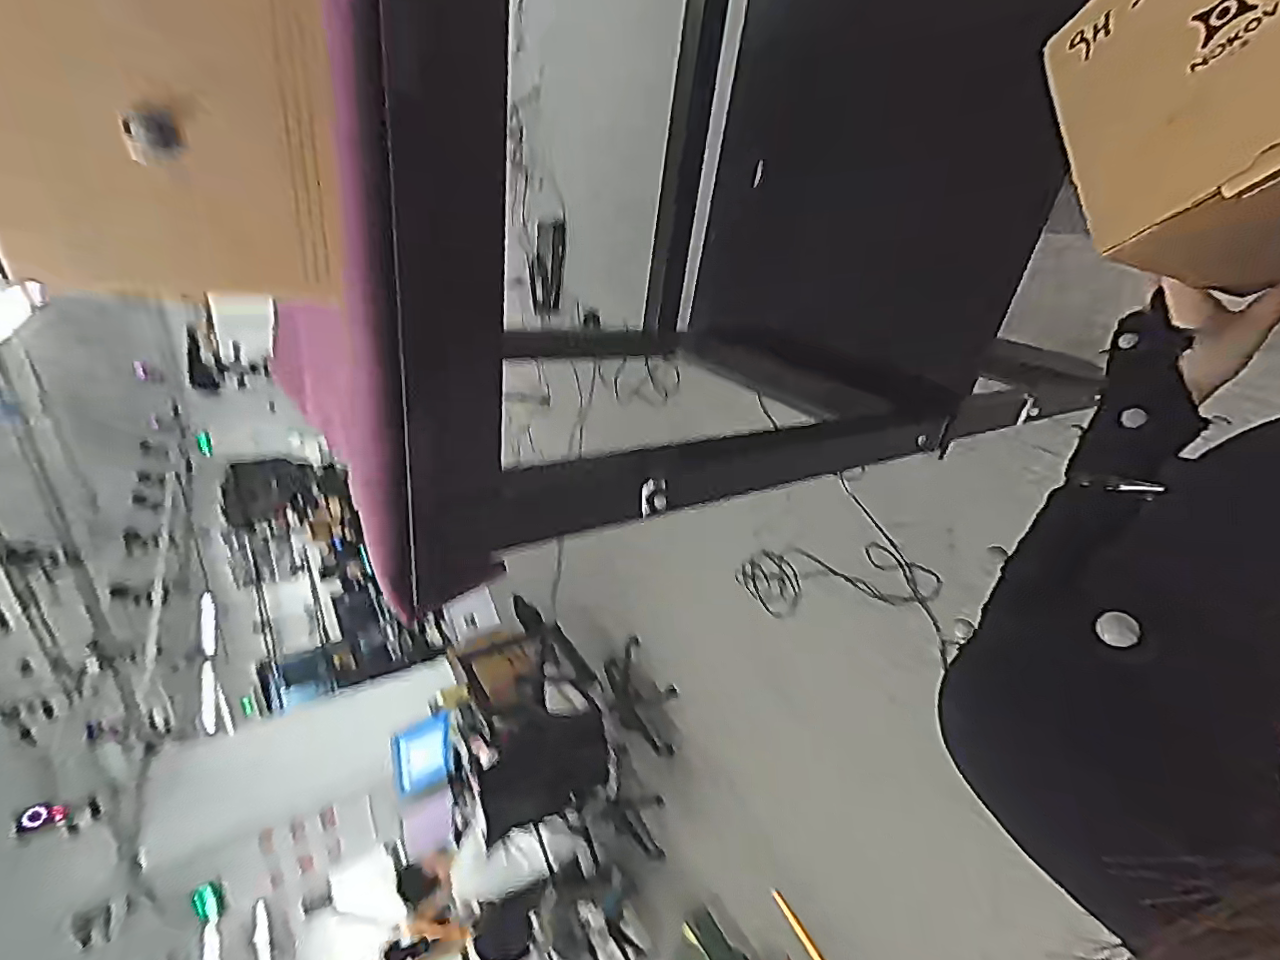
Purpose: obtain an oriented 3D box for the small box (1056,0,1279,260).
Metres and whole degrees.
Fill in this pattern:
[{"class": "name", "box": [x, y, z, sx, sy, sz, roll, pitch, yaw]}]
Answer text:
[{"class": "small box", "box": [0.397, -0.250, 0.313, 0.168, 0.176, 0.179, 148, 122, -67]}]
